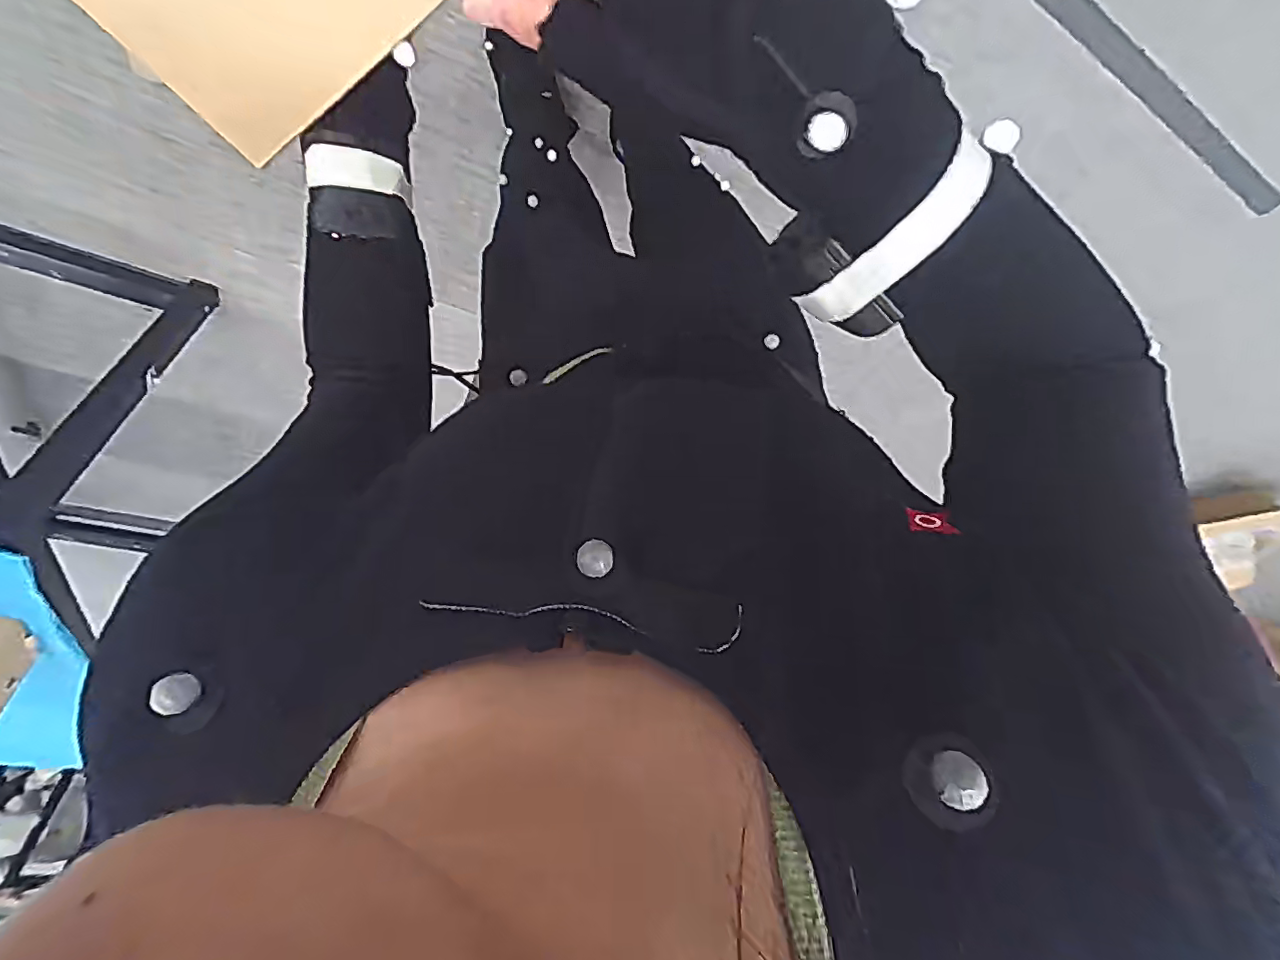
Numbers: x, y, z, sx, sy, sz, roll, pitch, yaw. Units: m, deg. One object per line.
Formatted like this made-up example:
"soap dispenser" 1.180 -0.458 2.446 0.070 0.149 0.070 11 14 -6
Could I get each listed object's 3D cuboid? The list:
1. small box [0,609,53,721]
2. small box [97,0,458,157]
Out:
"small box" -1.224 0.332 0.957 0.179 0.176 0.168 16 135 -22
"small box" -0.169 -0.283 0.222 0.168 0.176 0.179 -35 137 7
